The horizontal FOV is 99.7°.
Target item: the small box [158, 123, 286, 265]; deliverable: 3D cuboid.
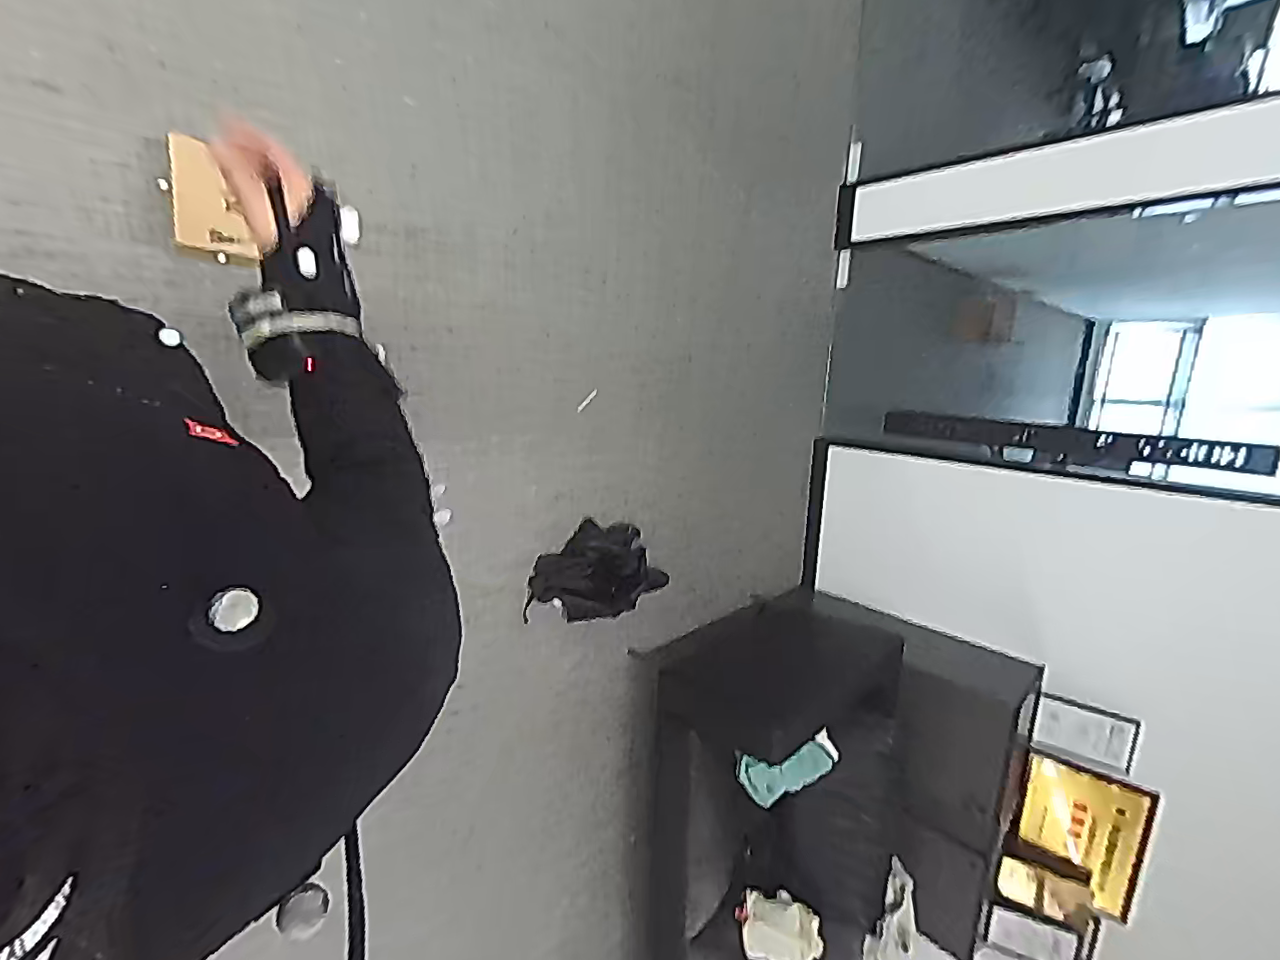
[{"bbox_3d":[-0.770,-0.511,0.996,0.168,0.176,0.179,-6,104,-43],"label":"small box"}]
